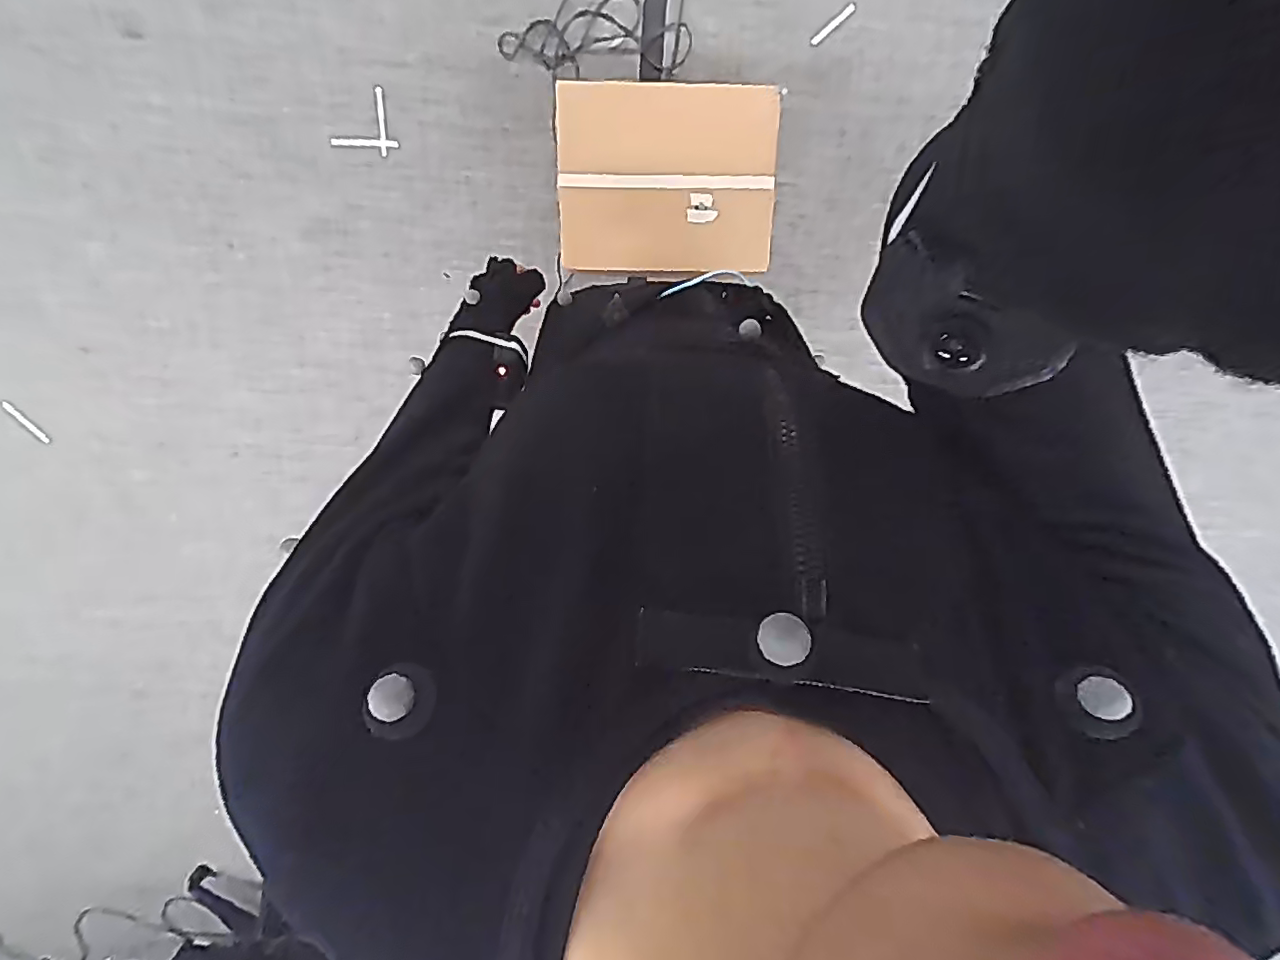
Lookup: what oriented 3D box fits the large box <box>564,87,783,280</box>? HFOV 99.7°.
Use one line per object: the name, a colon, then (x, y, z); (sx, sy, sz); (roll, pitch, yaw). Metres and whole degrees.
large box: (0.054, -0.601, 1.160); (0.408, 0.320, 0.320); (1, 109, -2)
